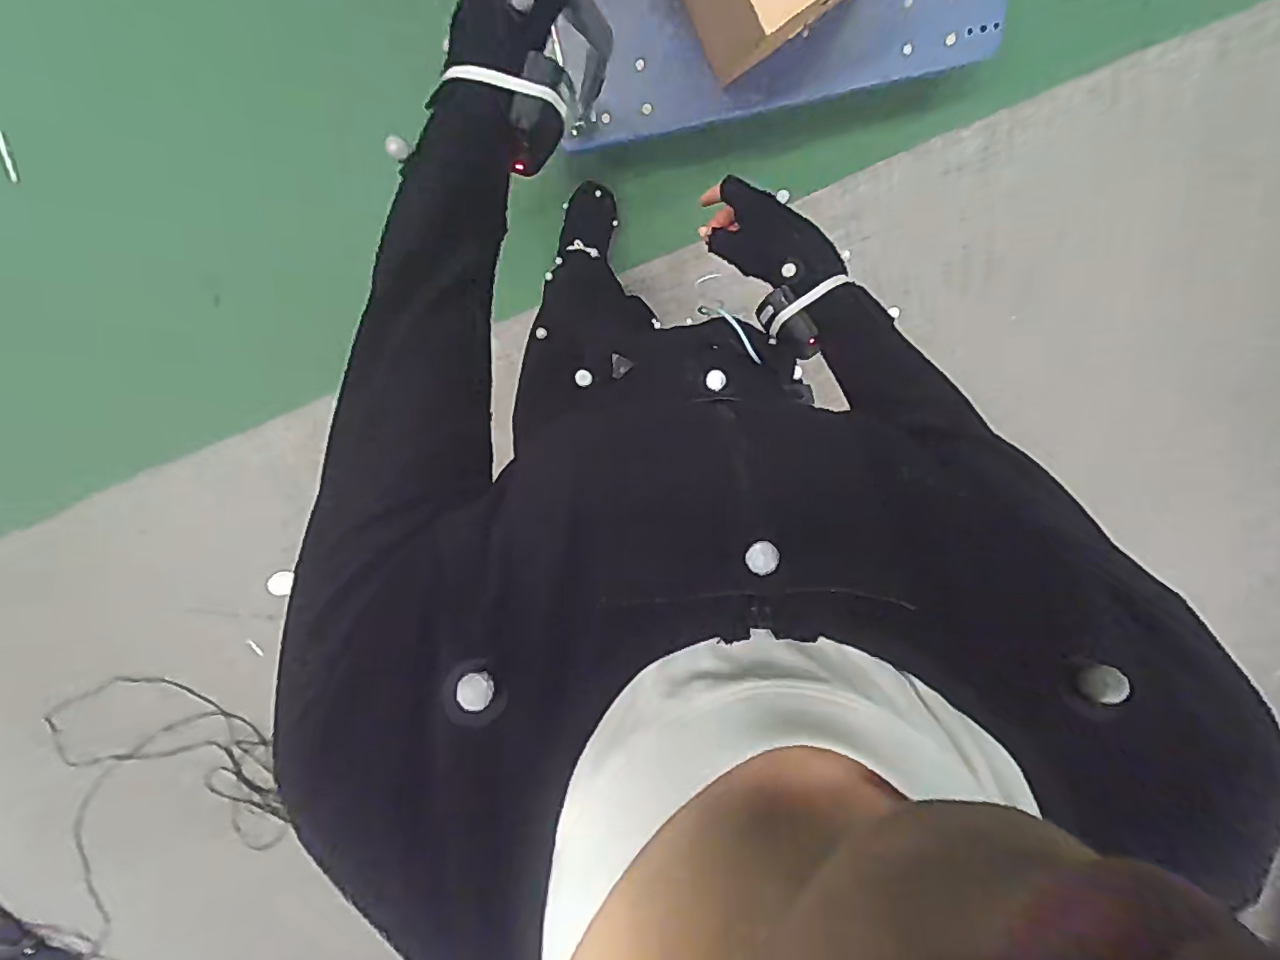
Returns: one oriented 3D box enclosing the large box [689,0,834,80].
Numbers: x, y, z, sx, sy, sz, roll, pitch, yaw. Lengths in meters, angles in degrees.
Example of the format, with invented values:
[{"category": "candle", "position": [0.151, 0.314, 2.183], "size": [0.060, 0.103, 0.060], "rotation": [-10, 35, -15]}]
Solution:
[{"category": "large box", "position": [0.188, -0.909, 0.781], "size": [0.320, 0.320, 0.408], "rotation": [-32, 113, 11]}]
